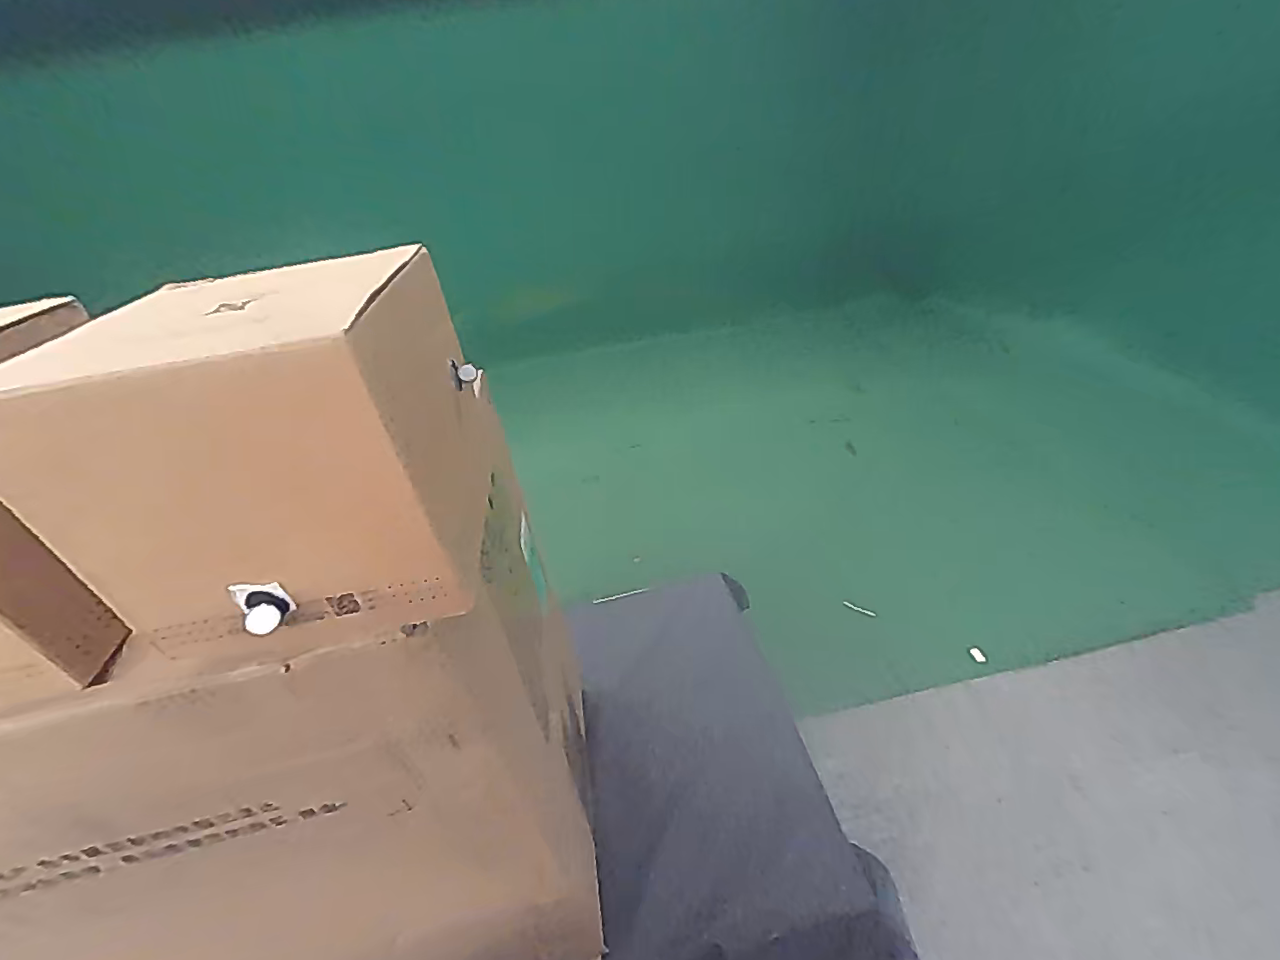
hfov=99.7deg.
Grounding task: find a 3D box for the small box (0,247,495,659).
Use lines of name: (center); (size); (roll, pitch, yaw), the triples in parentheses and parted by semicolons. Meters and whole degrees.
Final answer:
small box: (-0.194, -0.024, 0.329); (0.168, 0.176, 0.179); (-11, 37, -3)
